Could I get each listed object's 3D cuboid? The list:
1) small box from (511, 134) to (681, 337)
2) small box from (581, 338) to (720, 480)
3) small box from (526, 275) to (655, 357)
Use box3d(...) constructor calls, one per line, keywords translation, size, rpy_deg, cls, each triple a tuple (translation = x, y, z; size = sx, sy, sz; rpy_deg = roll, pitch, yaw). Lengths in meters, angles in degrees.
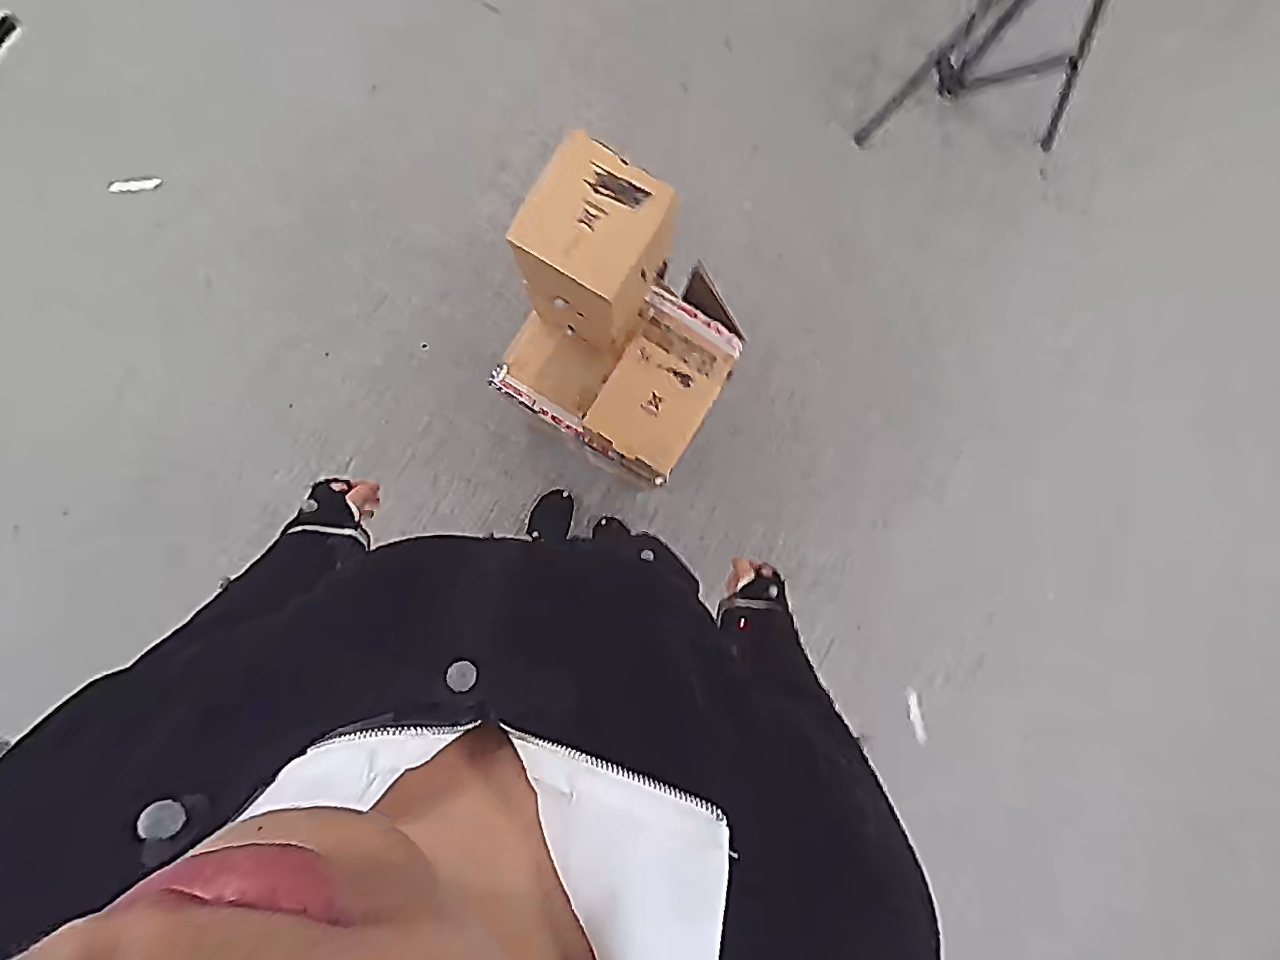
box3d(translation=(-0.060, -0.340, 0.789), size=(0.168, 0.176, 0.179), rpy_deg=(32, 89, 0), cls="small box")
box3d(translation=(0.016, -0.114, 0.951), size=(0.168, 0.176, 0.179), rpy_deg=(32, 88, -3), cls="small box")
box3d(translation=(-0.077, -0.346, 0.952), size=(0.168, 0.176, 0.179), rpy_deg=(29, 88, 0), cls="small box")
